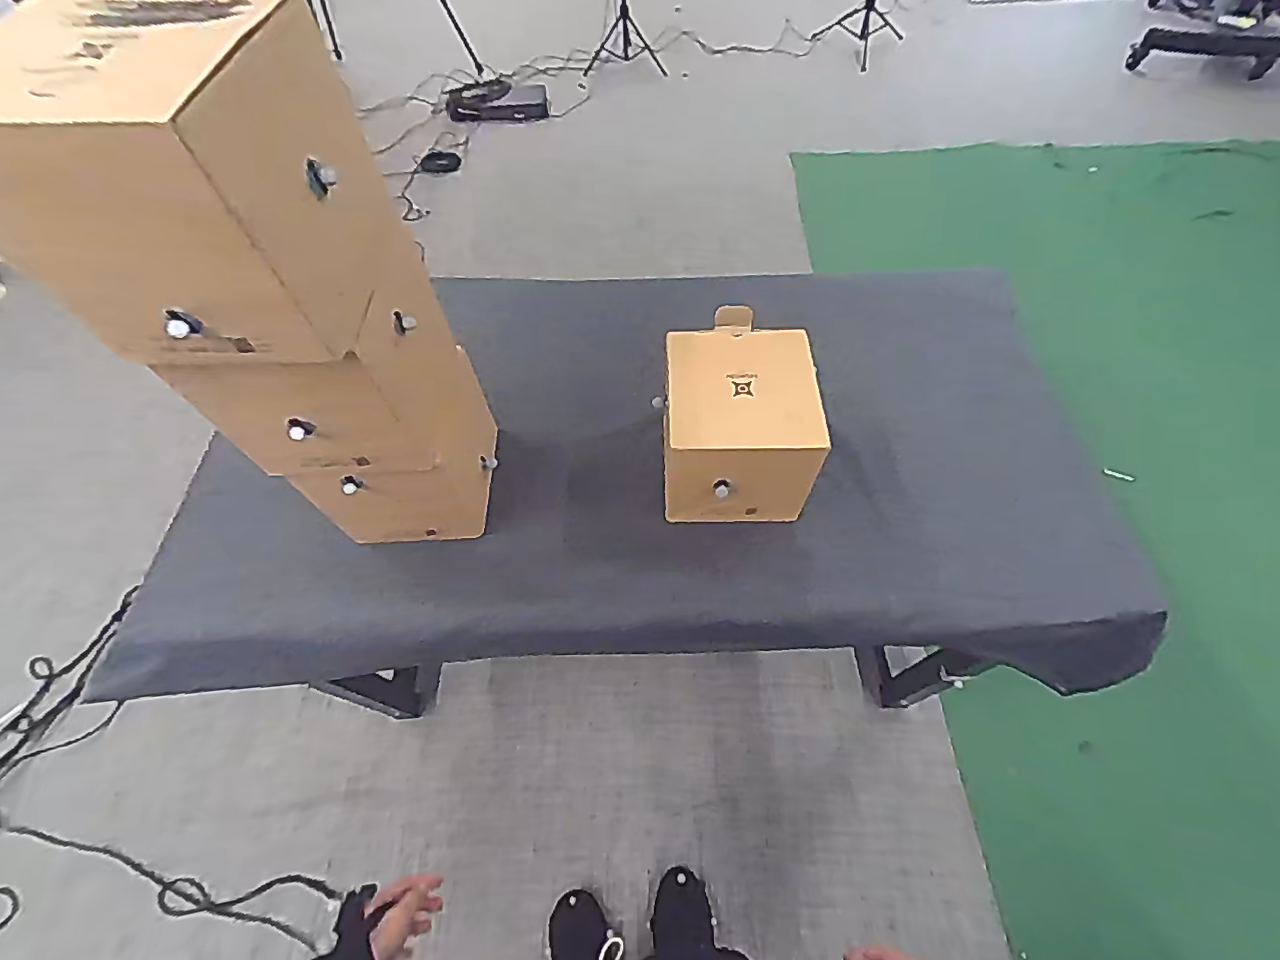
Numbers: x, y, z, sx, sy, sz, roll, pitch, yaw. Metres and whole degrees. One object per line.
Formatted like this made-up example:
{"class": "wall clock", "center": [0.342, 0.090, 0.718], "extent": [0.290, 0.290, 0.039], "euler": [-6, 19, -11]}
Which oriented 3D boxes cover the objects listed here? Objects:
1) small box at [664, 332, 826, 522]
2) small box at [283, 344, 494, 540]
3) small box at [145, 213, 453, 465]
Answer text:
{"class": "small box", "center": [0.114, -0.058, 0.664], "extent": [0.168, 0.176, 0.179], "euler": [0, 57, 1]}
{"class": "small box", "center": [-0.284, -0.043, 0.660], "extent": [0.168, 0.176, 0.179], "euler": [-2, 57, 0]}
{"class": "small box", "center": [-0.293, -0.125, 0.517], "extent": [0.168, 0.176, 0.179], "euler": [-1, 58, 0]}
